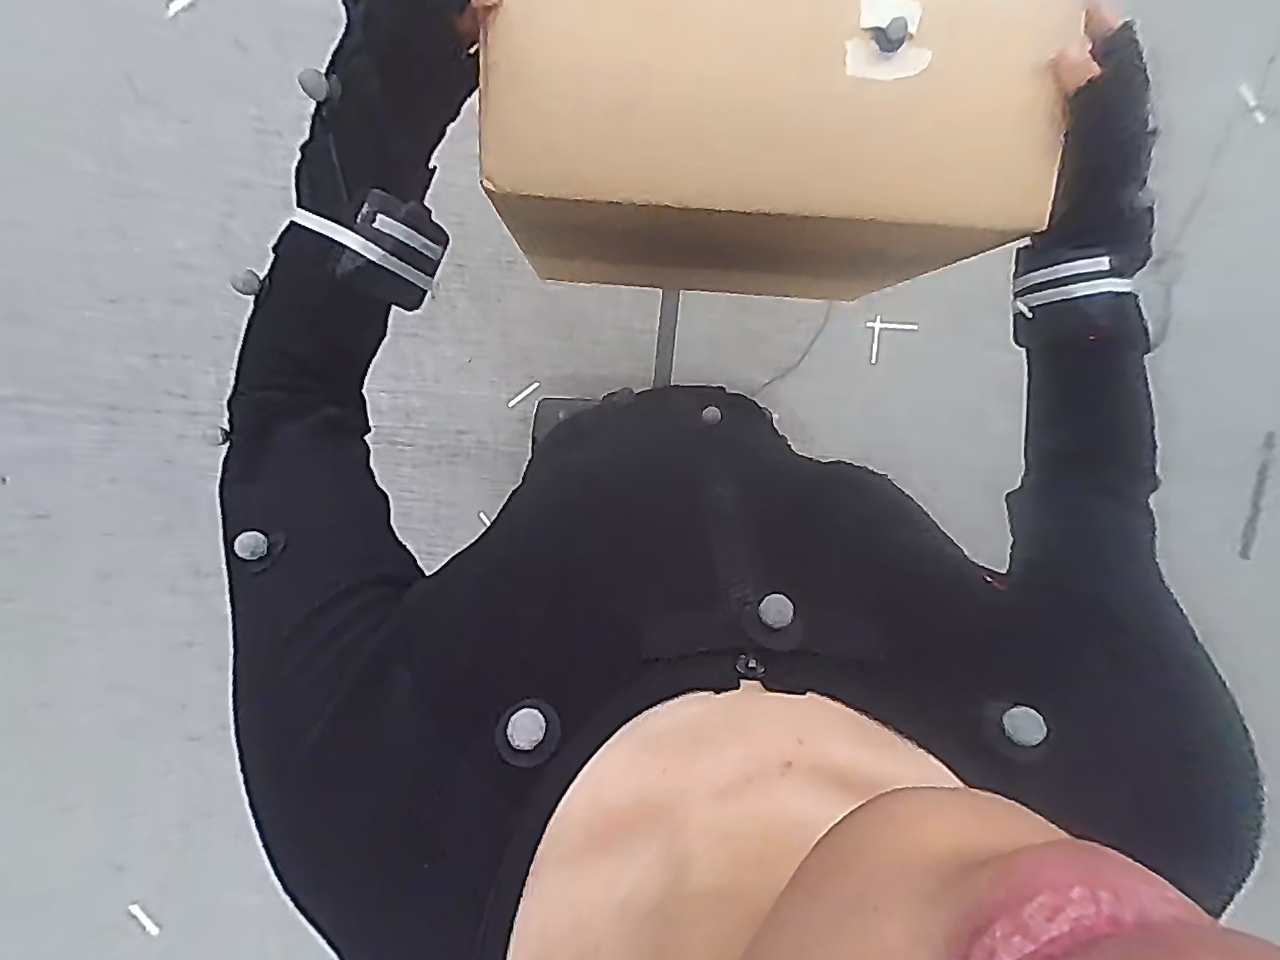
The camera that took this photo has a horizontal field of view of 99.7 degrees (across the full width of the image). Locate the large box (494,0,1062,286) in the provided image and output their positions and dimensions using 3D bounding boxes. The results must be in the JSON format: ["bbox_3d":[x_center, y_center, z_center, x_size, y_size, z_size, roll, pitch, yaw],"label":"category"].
[{"bbox_3d":[0.088,-0.377,0.513,0.408,0.320,0.320,1,100,-4],"label":"large box"}]
